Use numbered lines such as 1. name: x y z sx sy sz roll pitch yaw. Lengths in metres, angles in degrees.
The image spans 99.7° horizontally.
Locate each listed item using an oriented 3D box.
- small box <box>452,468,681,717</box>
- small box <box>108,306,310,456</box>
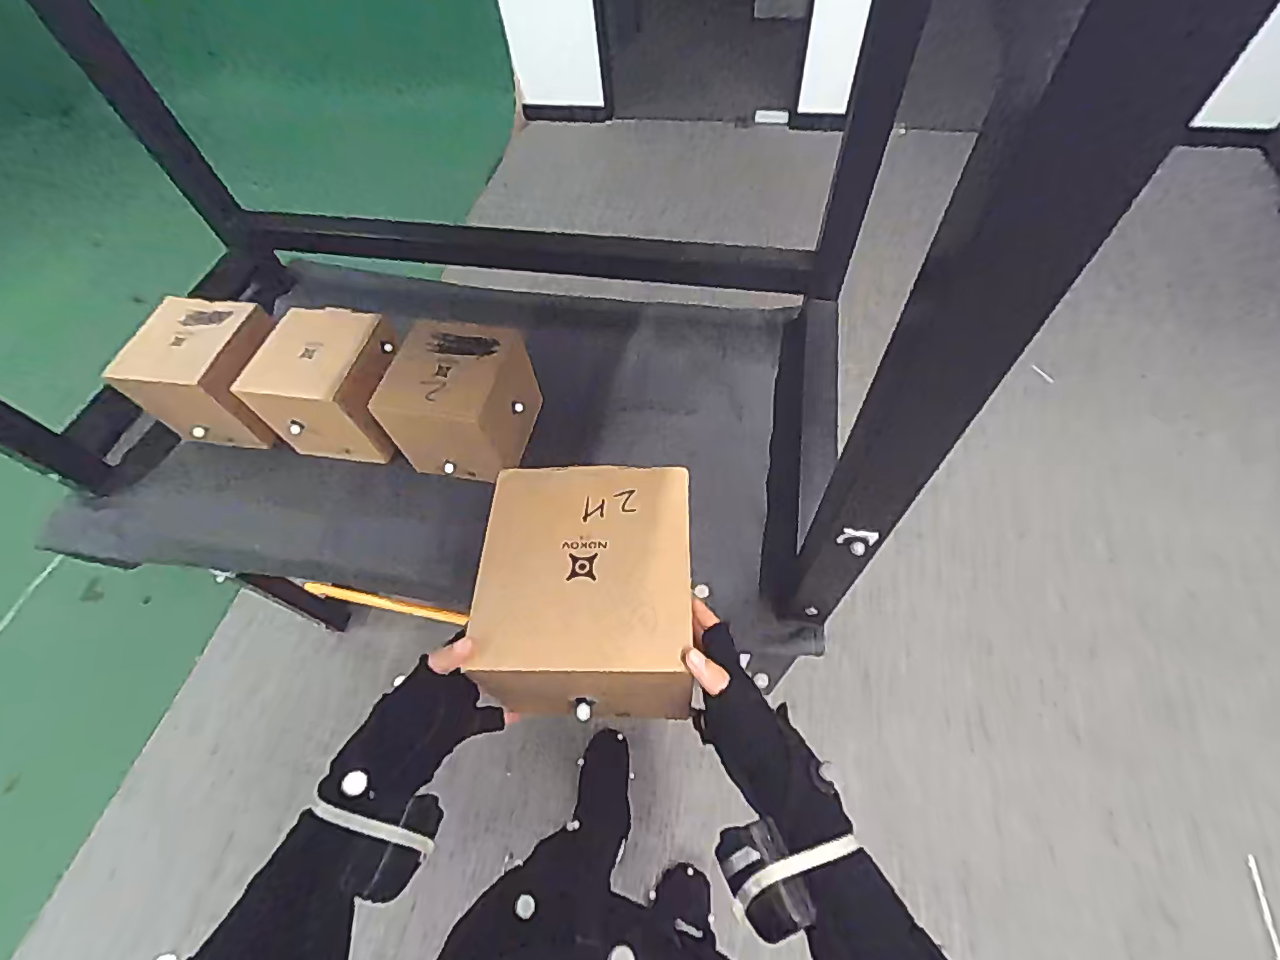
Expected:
1. small box: -0.046 0.108 0.489 0.168 0.176 0.179 0 55 3
2. small box: -0.699 -0.164 0.907 0.168 0.176 0.179 6 59 8
